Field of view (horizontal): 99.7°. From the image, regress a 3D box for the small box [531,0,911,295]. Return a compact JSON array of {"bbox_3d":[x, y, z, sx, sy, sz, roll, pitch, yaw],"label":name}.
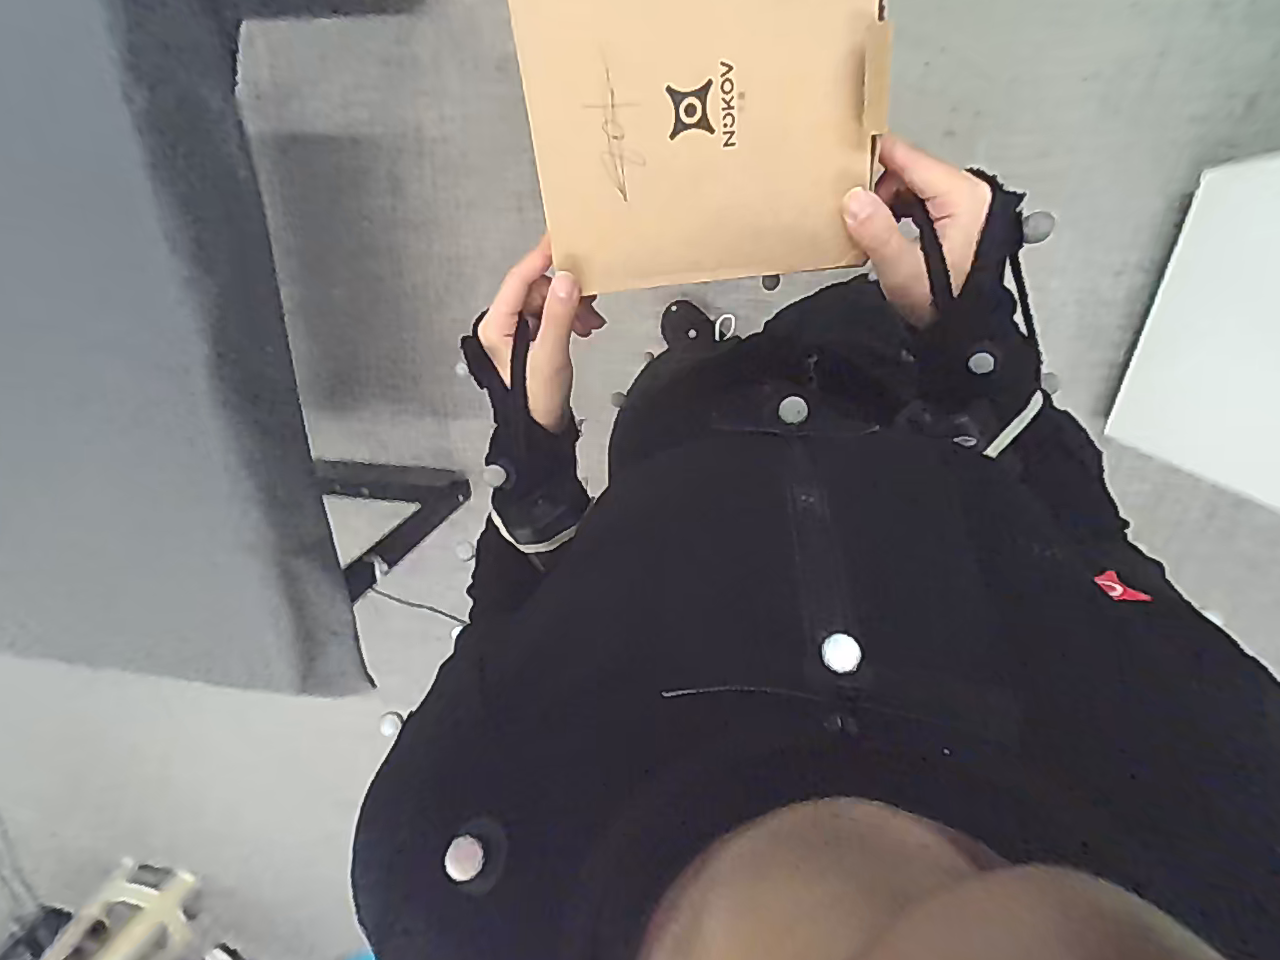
[{"bbox_3d":[0.048,-0.217,0.339,0.179,0.176,0.168,-3,113,9],"label":"small box"}]
